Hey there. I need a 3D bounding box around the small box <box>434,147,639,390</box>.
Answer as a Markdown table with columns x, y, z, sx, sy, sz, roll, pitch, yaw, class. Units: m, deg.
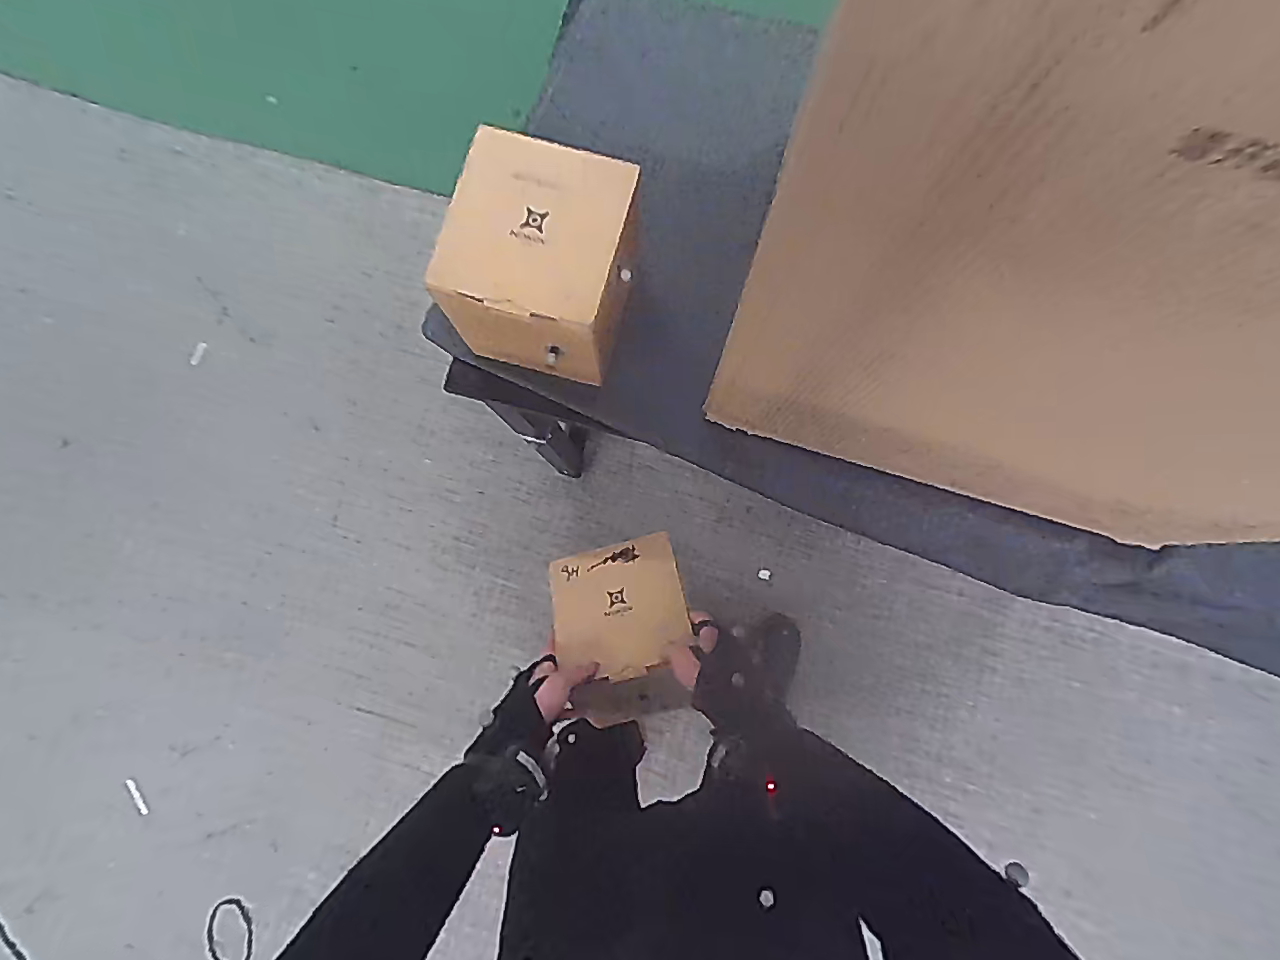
| x | y | z | sx | sy | sz | roll | pitch | yaw | class |
| --- | --- | --- | --- | --- | --- | --- | --- | --- | --- |
| -0.101 | -0.220 | 0.607 | 0.168 | 0.176 | 0.179 | 14 | 78 | 1 | small box |
